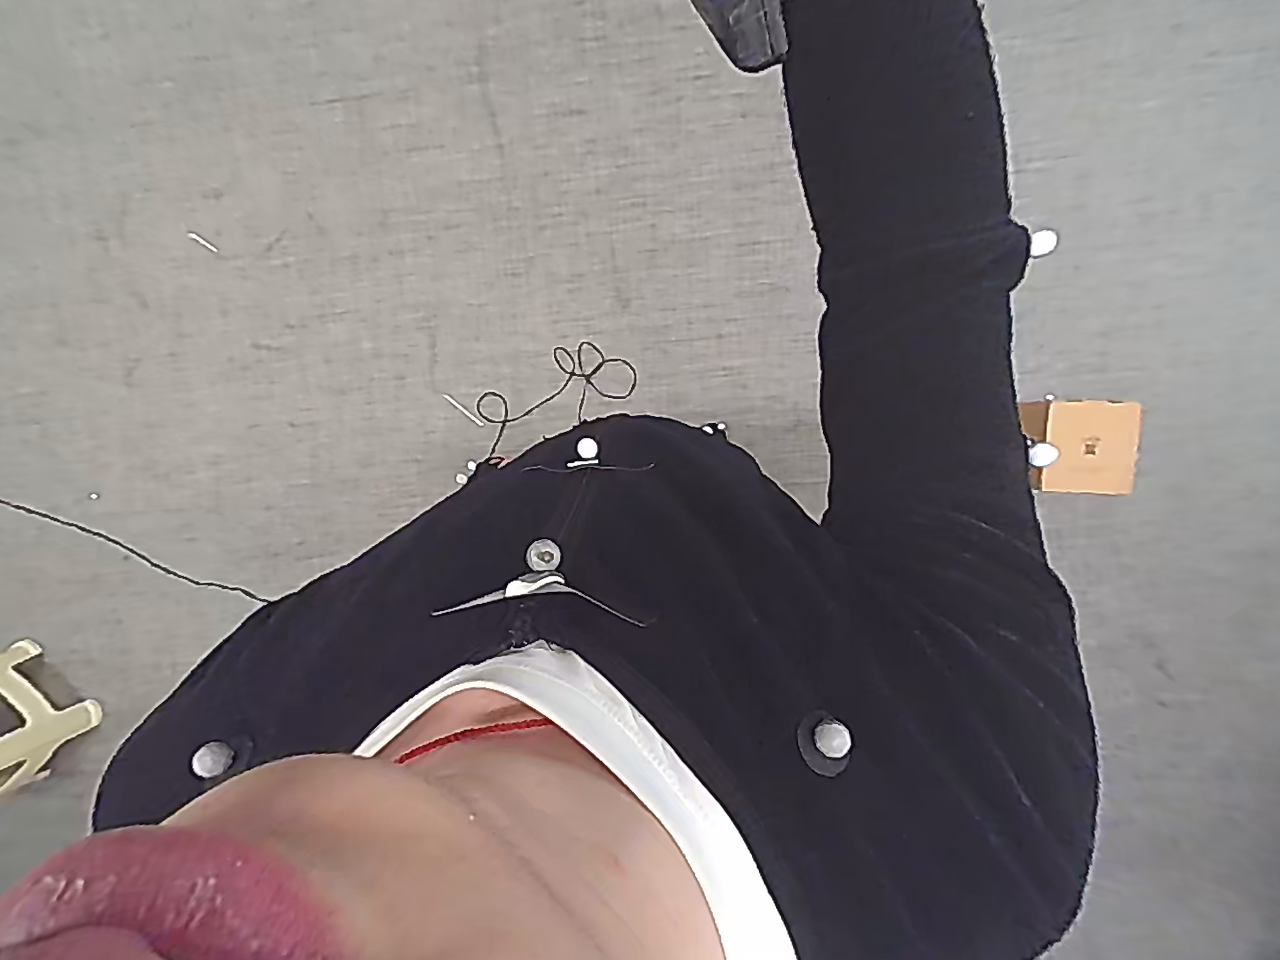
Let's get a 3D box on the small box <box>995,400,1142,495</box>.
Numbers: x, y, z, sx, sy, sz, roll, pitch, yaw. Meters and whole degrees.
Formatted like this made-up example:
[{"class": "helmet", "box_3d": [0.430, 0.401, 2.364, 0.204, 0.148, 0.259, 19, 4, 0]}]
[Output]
[{"class": "small box", "box_3d": [0.854, -0.069, 1.095, 0.168, 0.176, 0.179, 2, 97, 4]}]
